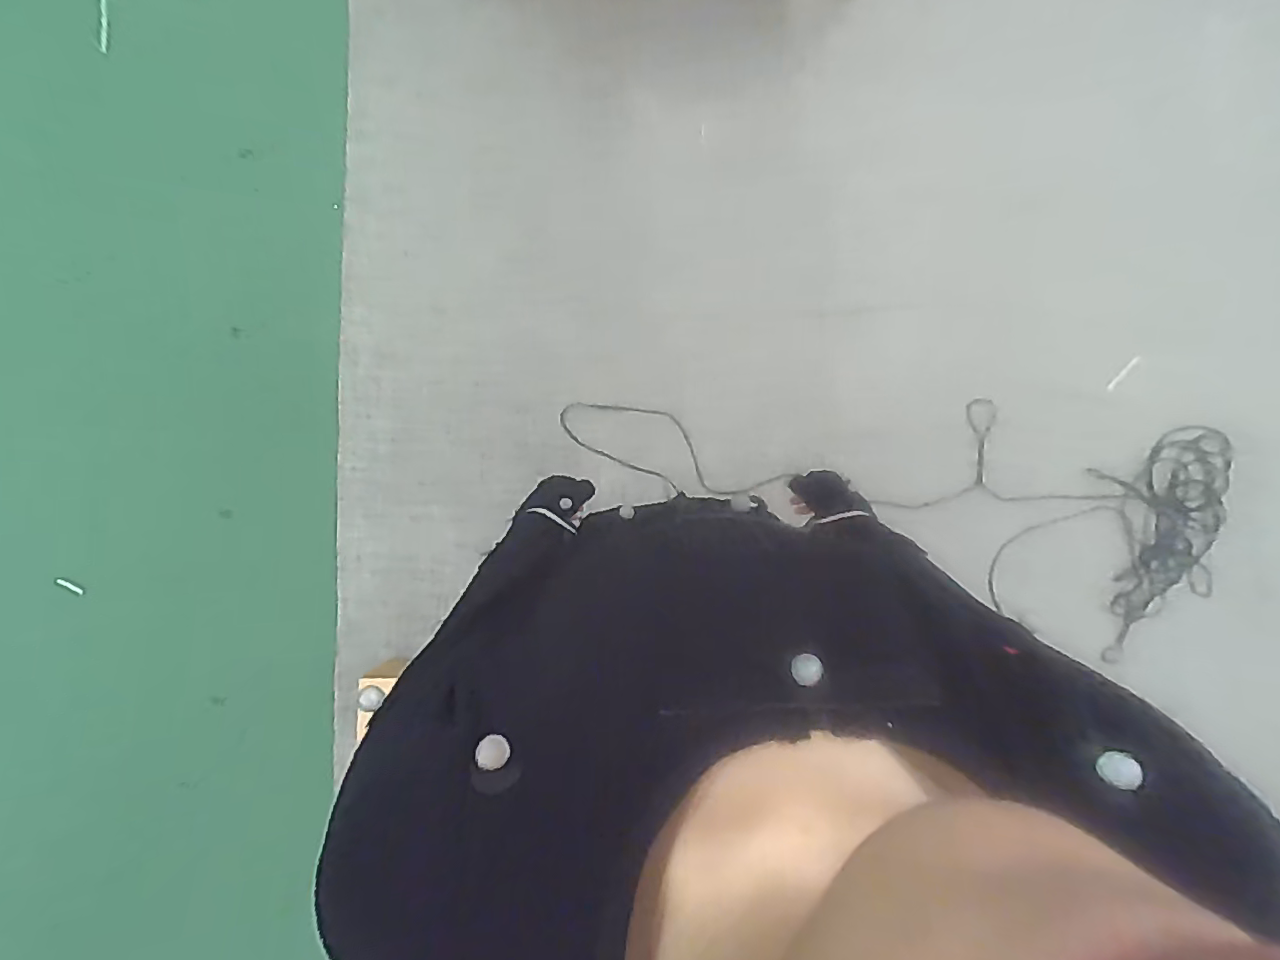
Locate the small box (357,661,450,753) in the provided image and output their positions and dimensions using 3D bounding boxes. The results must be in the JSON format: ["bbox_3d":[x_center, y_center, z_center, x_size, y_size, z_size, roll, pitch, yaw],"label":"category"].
[{"bbox_3d":[-0.587,0.563,1.358,0.168,0.176,0.179,0,87,-1],"label":"small box"}]
